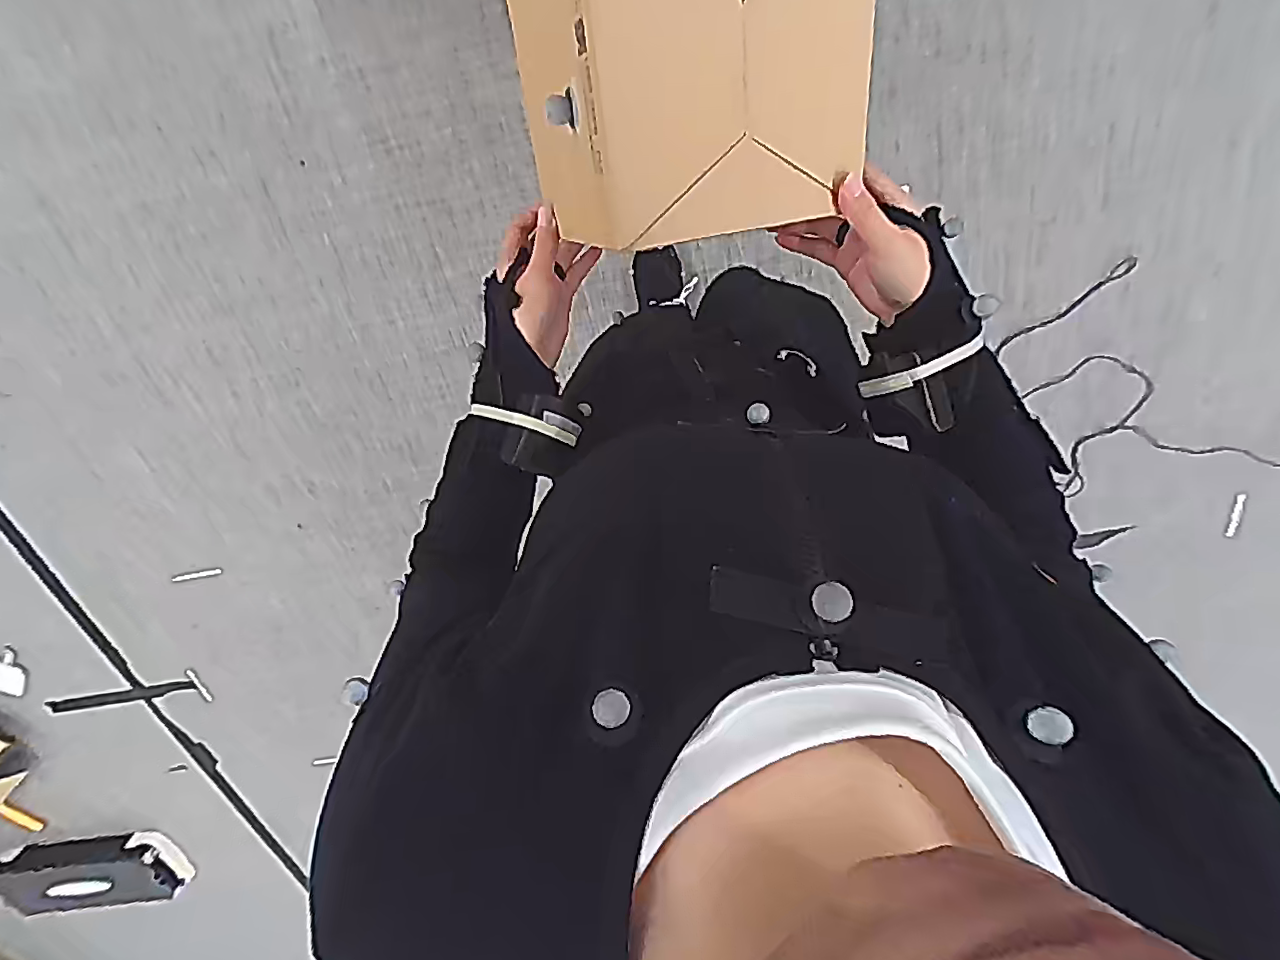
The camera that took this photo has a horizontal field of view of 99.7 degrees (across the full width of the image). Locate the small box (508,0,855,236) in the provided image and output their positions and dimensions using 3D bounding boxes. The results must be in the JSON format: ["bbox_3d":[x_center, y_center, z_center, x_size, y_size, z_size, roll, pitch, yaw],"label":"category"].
[{"bbox_3d":[0.026,-0.267,0.368,0.179,0.176,0.168,-17,121,-17],"label":"small box"}]
